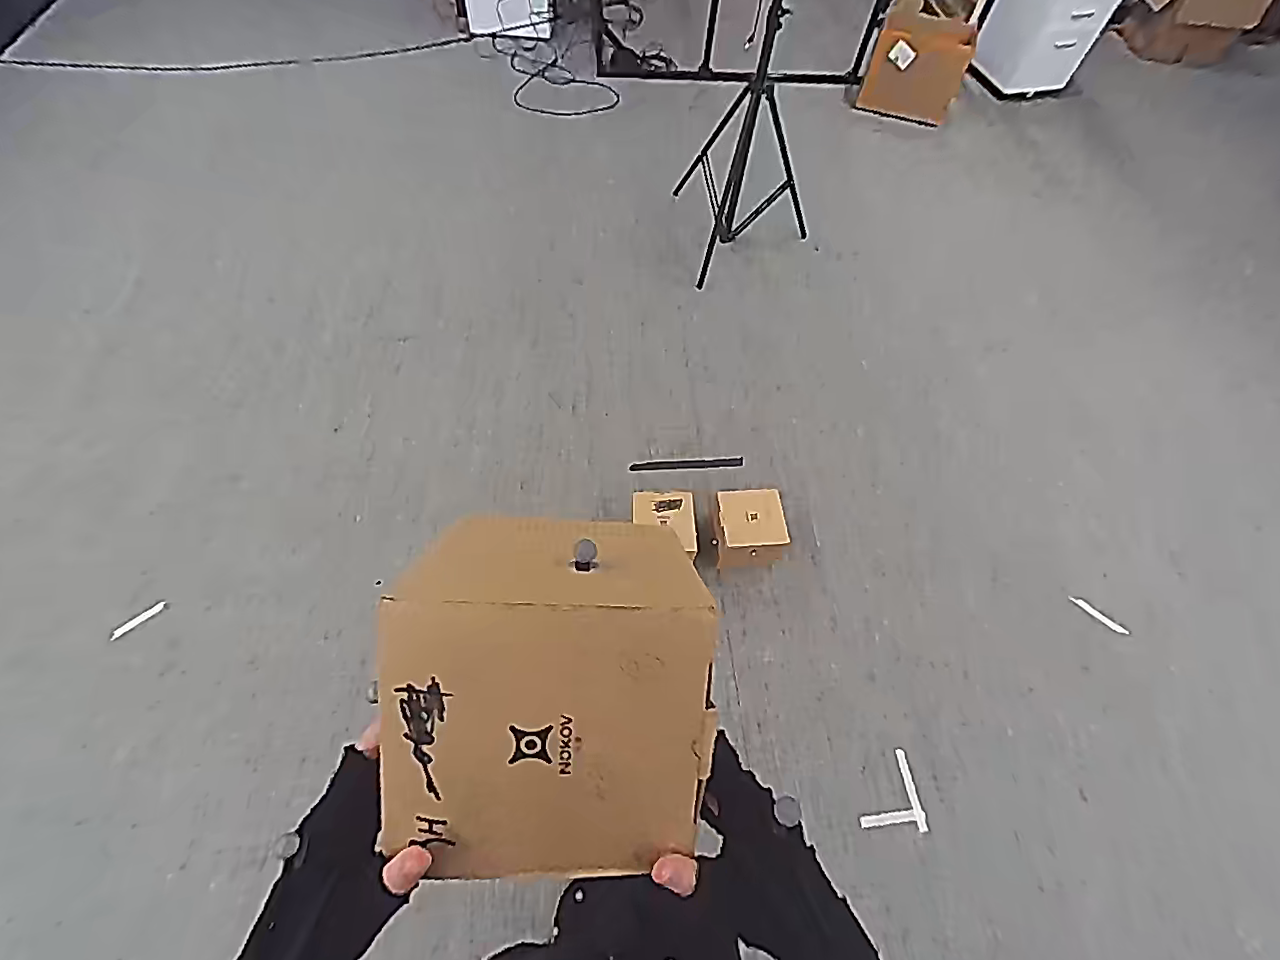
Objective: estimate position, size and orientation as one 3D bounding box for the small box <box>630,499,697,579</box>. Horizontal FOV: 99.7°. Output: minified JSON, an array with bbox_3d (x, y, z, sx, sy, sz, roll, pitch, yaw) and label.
[{"bbox_3d":[0.060,0.166,1.504,0.168,0.176,0.179,0,61,-3],"label":"small box"}]

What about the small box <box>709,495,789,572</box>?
[{"bbox_3d":[0.297,0.156,1.527,0.179,0.176,0.168,-3,62,-6],"label":"small box"}]

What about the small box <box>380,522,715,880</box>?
[{"bbox_3d":[-0.060,0.129,0.372,0.179,0.176,0.168,3,99,-7],"label":"small box"}]
